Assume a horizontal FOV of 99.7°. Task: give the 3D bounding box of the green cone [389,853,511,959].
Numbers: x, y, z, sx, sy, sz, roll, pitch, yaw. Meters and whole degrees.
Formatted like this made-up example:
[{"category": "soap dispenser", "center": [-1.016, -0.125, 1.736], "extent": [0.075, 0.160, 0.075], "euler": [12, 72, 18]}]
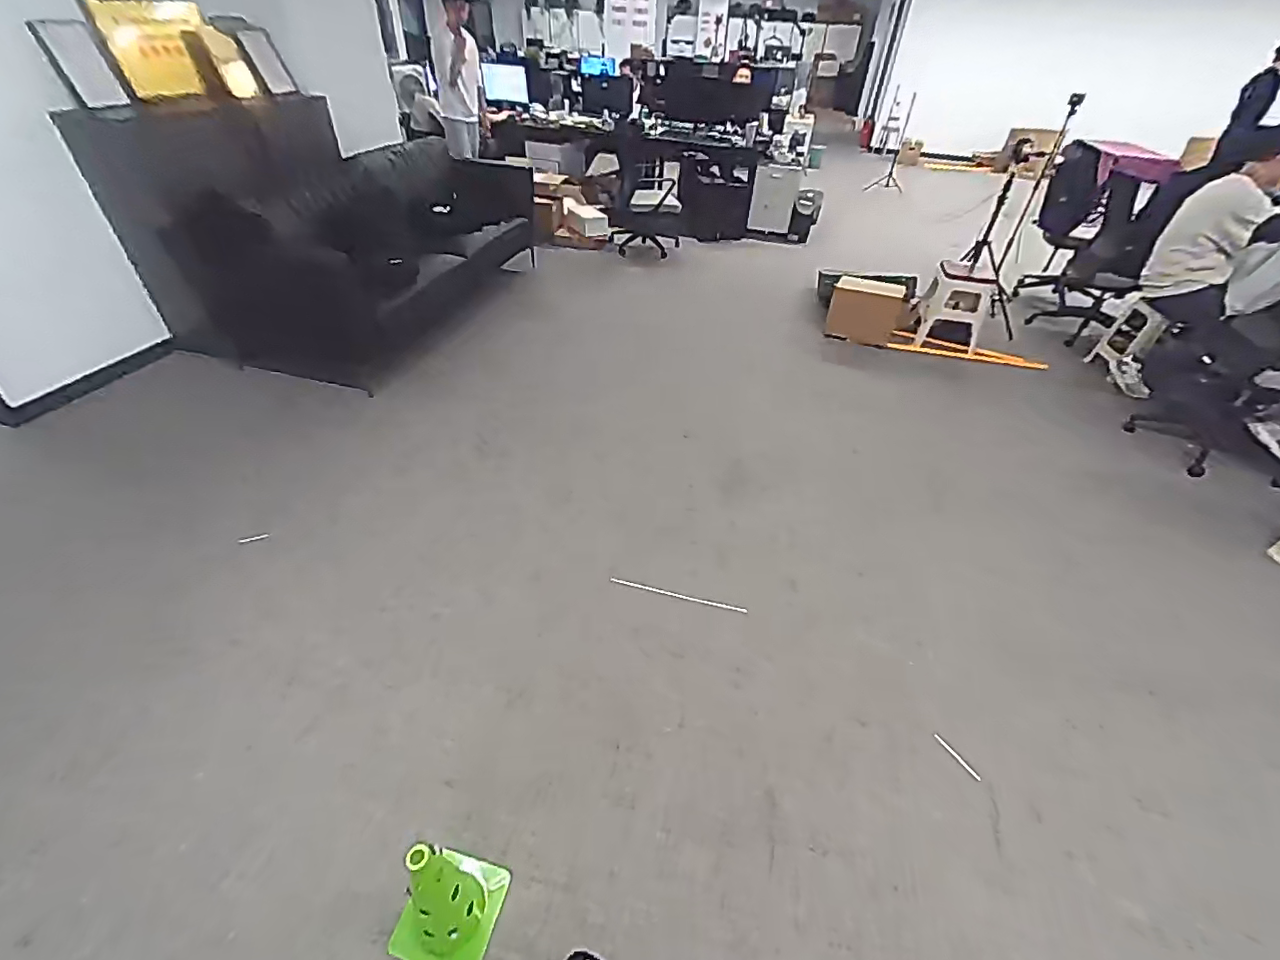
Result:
[{"category": "green cone", "center": [-0.395, 0.814, 1.058], "extent": [0.202, 0.368, 0.200], "euler": [12, 41, 9]}]
